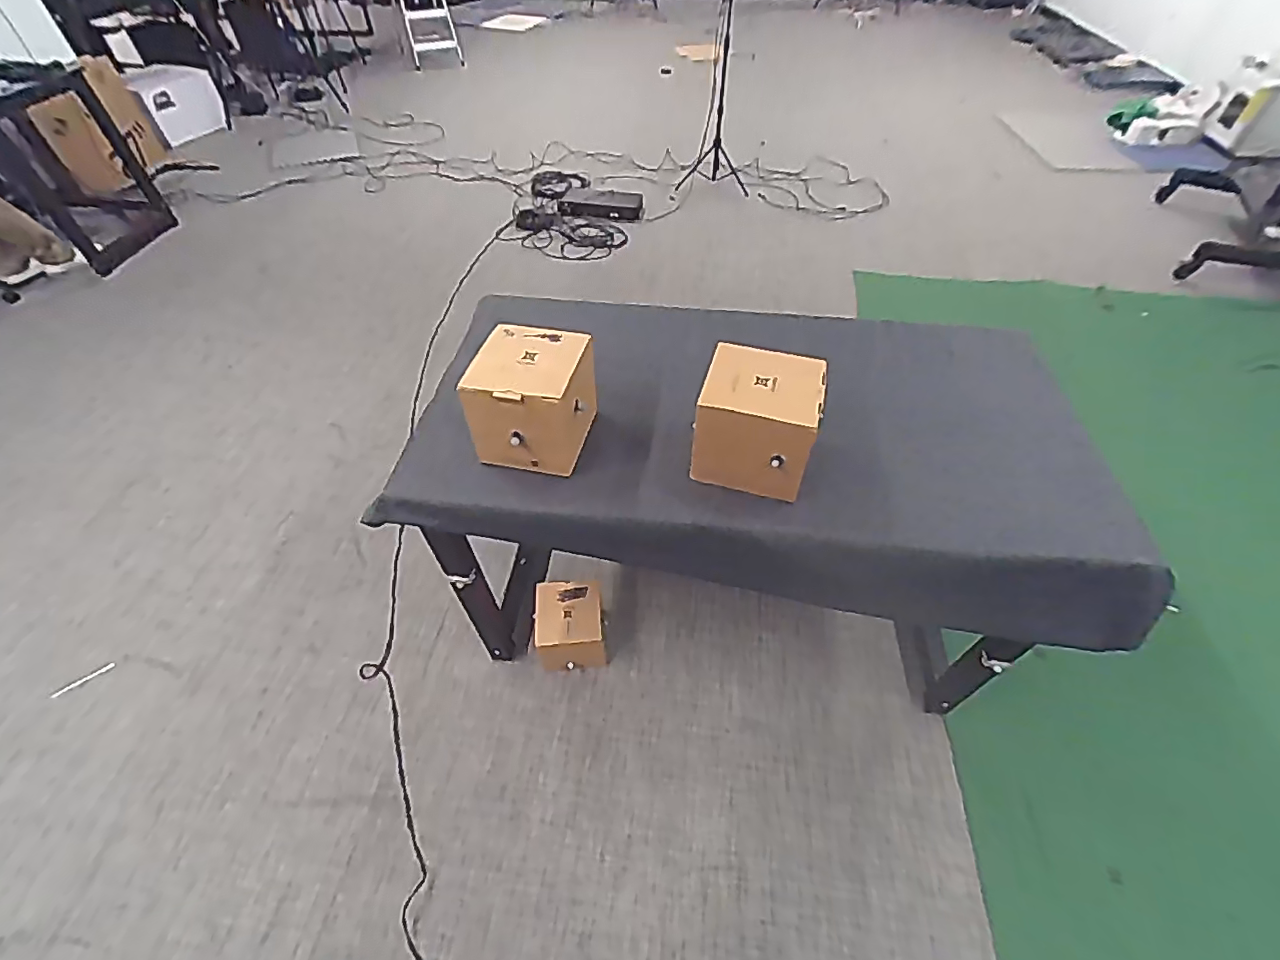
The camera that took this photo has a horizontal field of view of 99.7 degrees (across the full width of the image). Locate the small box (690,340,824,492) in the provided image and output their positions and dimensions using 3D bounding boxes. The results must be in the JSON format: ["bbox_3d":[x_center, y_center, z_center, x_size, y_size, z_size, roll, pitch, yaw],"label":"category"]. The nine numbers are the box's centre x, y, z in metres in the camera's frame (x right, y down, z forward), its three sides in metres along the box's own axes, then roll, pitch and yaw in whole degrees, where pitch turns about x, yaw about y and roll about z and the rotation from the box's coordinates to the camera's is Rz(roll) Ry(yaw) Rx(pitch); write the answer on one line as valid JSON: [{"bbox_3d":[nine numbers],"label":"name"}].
[{"bbox_3d":[0.187,-0.101,0.885,0.179,0.176,0.168,12,49,11],"label":"small box"}]

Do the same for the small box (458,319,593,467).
[{"bbox_3d":[-0.179,-0.144,0.915,0.168,0.176,0.179,10,50,6],"label":"small box"}]
